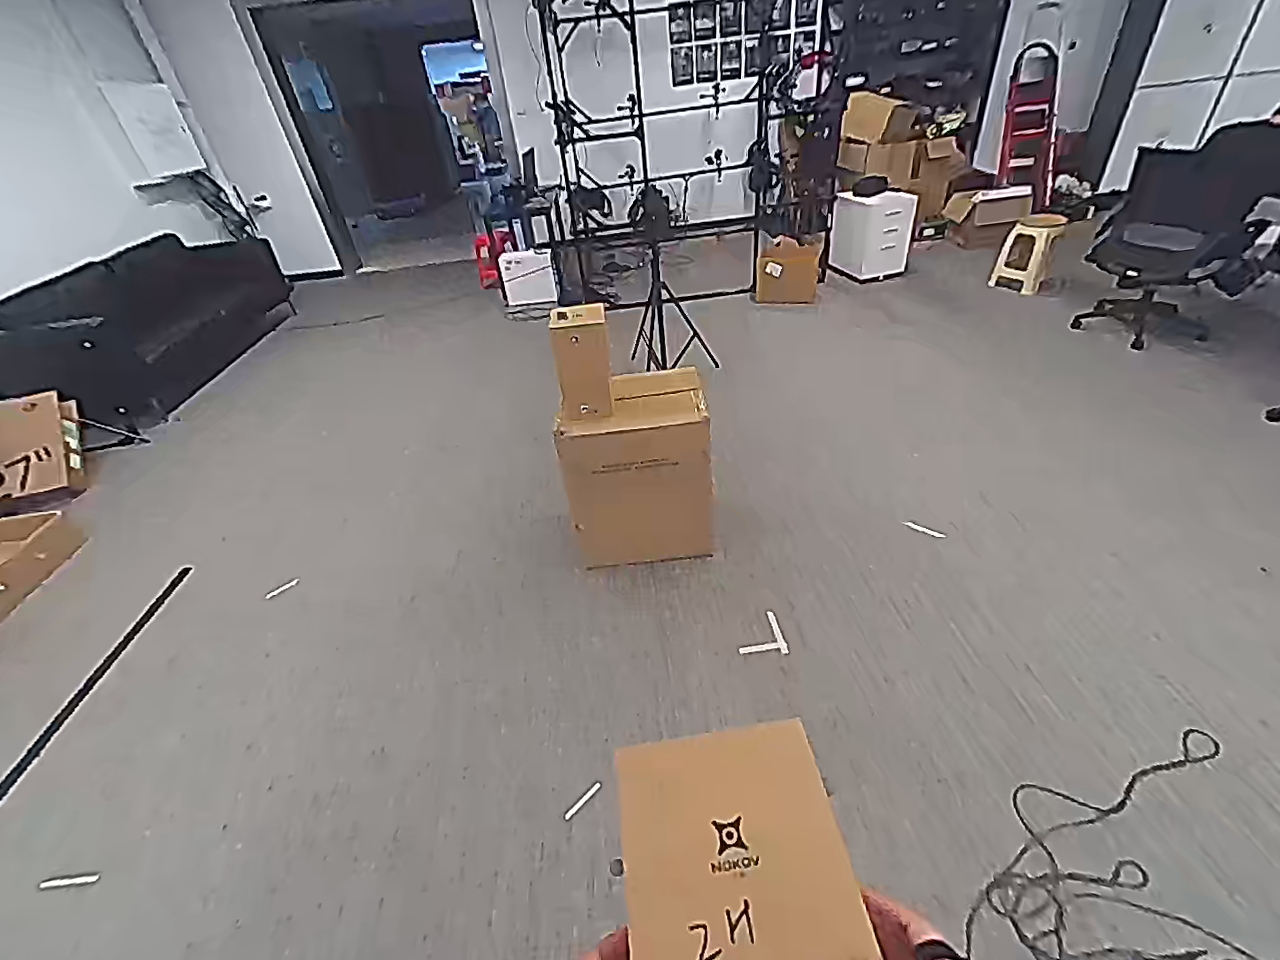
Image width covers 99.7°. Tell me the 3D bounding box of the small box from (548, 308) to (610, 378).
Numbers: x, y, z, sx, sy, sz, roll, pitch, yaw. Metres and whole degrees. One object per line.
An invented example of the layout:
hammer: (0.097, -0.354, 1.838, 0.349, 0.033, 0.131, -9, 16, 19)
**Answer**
small box: (-0.195, -0.444, 1.769, 0.179, 0.176, 0.168, -7, 38, 0)

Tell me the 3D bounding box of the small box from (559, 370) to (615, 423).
small box: (-0.180, -0.316, 1.871, 0.168, 0.176, 0.179, -7, 39, 1)

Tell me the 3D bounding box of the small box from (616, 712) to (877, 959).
small box: (0.076, 0.331, 0.463, 0.168, 0.176, 0.179, -10, 41, 0)
